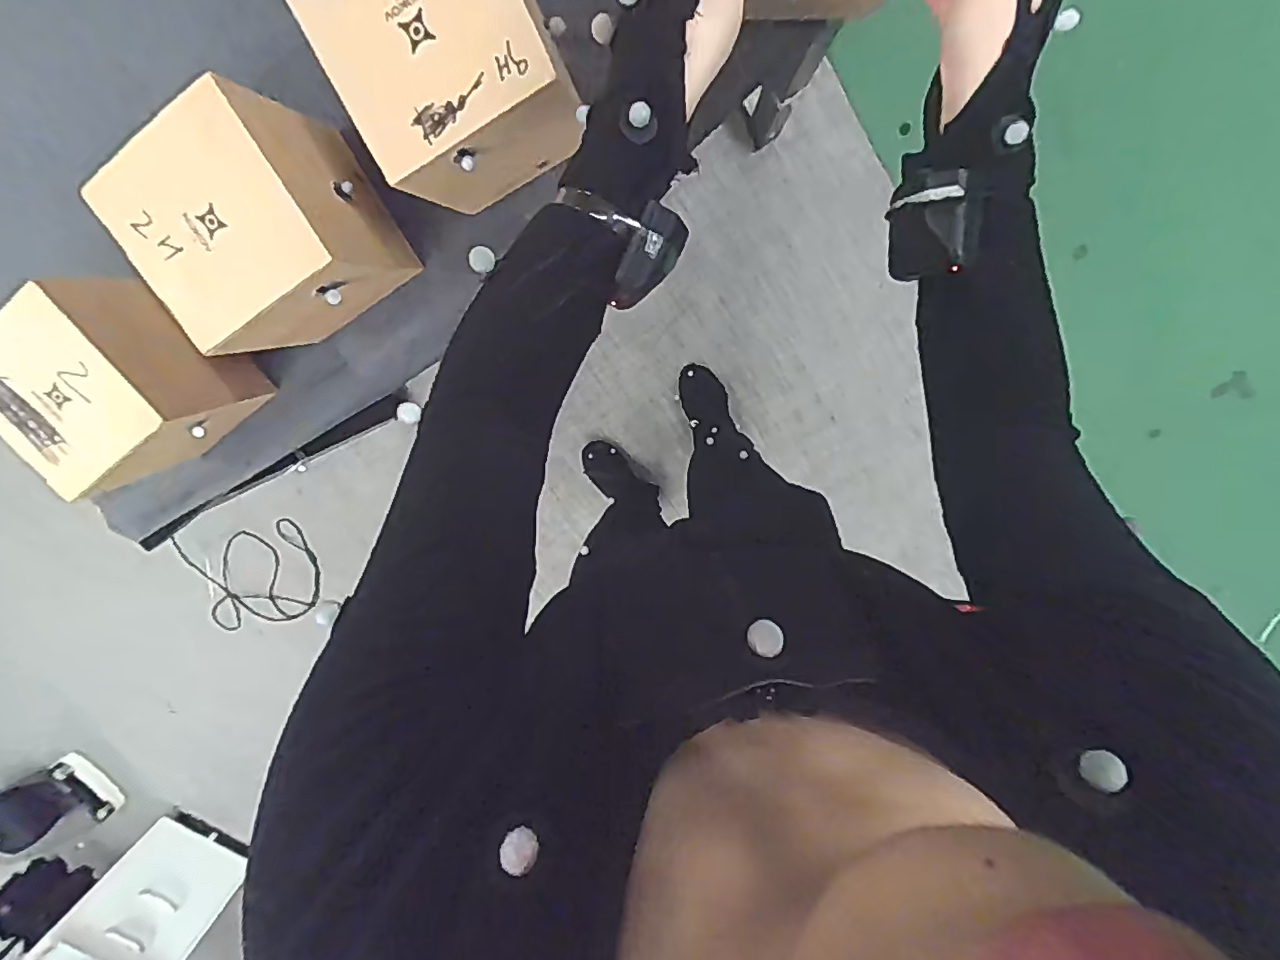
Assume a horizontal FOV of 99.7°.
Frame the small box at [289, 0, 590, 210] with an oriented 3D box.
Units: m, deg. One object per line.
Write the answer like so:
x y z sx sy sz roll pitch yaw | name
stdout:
-0.164 -0.375 0.485 0.168 0.176 0.179 -23 104 14 | small box

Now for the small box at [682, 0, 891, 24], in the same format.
0.122 -0.437 0.362 0.179 0.176 0.168 1 115 1 | small box

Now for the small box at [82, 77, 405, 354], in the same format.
-0.373 -0.251 0.551 0.179 0.176 0.168 -26 104 15 | small box
